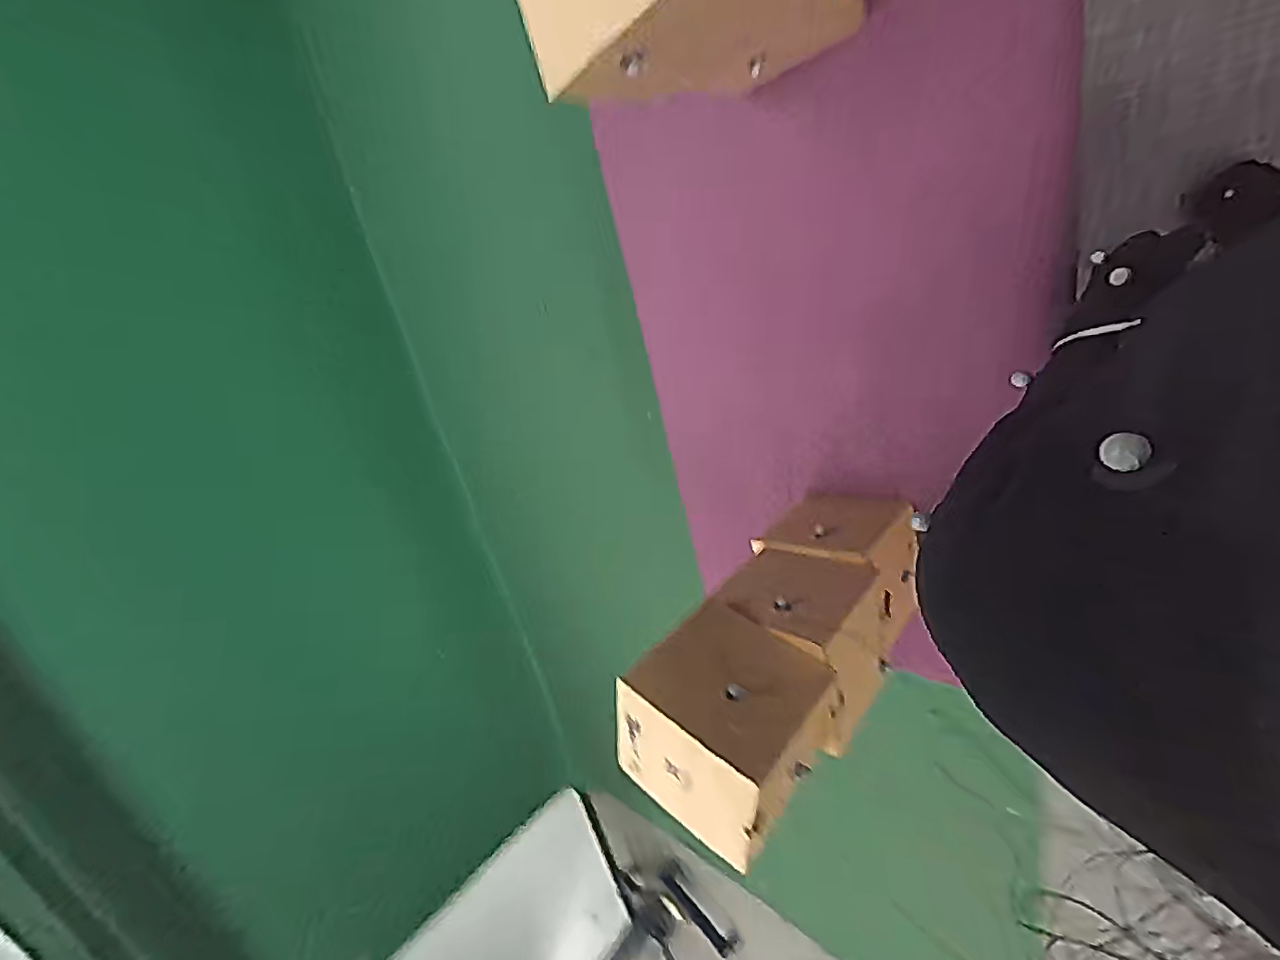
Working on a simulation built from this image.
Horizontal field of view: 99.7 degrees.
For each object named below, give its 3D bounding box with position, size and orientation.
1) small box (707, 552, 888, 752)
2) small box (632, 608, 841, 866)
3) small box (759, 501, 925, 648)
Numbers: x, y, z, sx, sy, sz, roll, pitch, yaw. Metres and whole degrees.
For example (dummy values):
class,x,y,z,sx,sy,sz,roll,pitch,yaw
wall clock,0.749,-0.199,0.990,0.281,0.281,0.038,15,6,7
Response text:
class,x,y,z,sx,sy,sz,roll,pitch,yaw
small box,0.220,0.215,0.729,0.179,0.176,0.168,7,118,44
small box,0.109,0.280,0.627,0.179,0.176,0.168,24,129,33
small box,0.316,0.141,0.842,0.179,0.176,0.168,1,114,46
